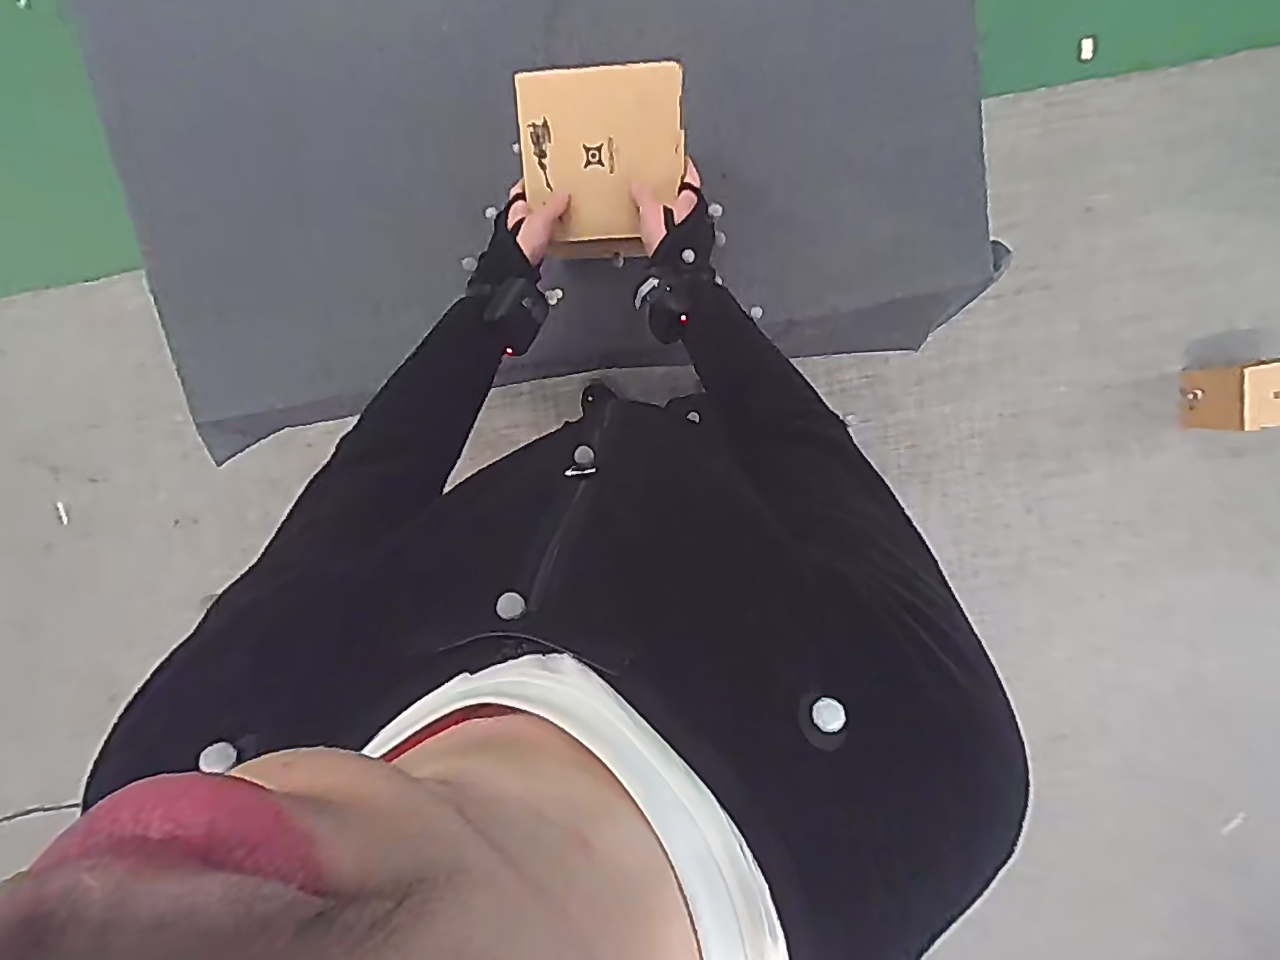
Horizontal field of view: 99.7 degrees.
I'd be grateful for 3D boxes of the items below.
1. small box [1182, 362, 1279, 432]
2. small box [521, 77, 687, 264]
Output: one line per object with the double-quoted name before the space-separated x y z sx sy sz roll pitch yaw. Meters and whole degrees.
"small box" 1.614 -0.223 1.438 0.179 0.176 0.168 -8 98 2
"small box" -0.036 -0.362 0.663 0.179 0.176 0.168 -1 106 2
